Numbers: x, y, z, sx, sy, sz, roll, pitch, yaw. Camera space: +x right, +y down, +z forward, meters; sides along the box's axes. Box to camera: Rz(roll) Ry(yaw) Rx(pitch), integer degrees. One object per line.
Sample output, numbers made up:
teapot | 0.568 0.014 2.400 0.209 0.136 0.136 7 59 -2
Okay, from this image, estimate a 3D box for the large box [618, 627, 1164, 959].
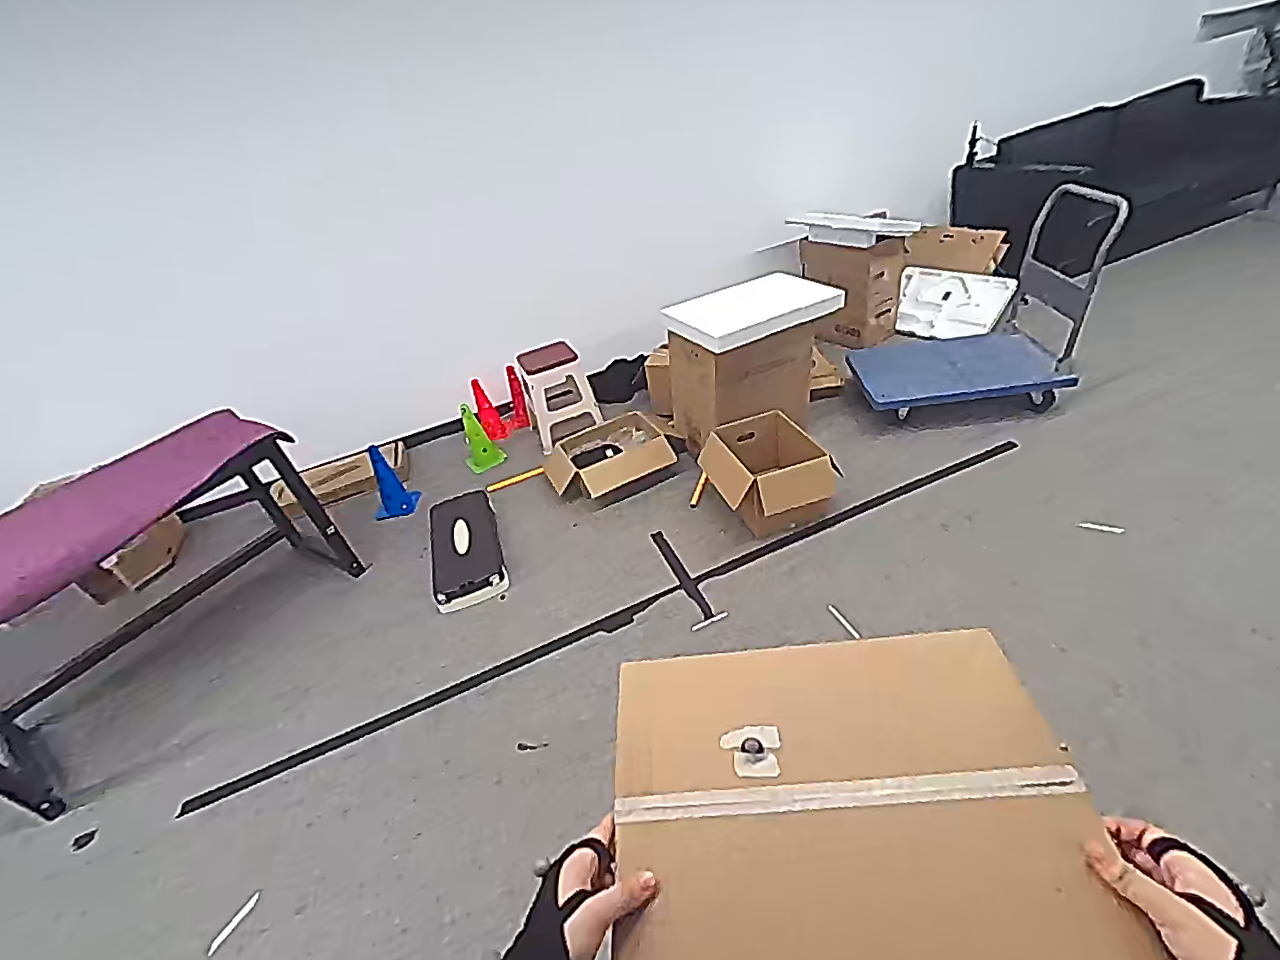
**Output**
large box | 0.207 0.402 0.594 0.408 0.320 0.320 -9 38 8
